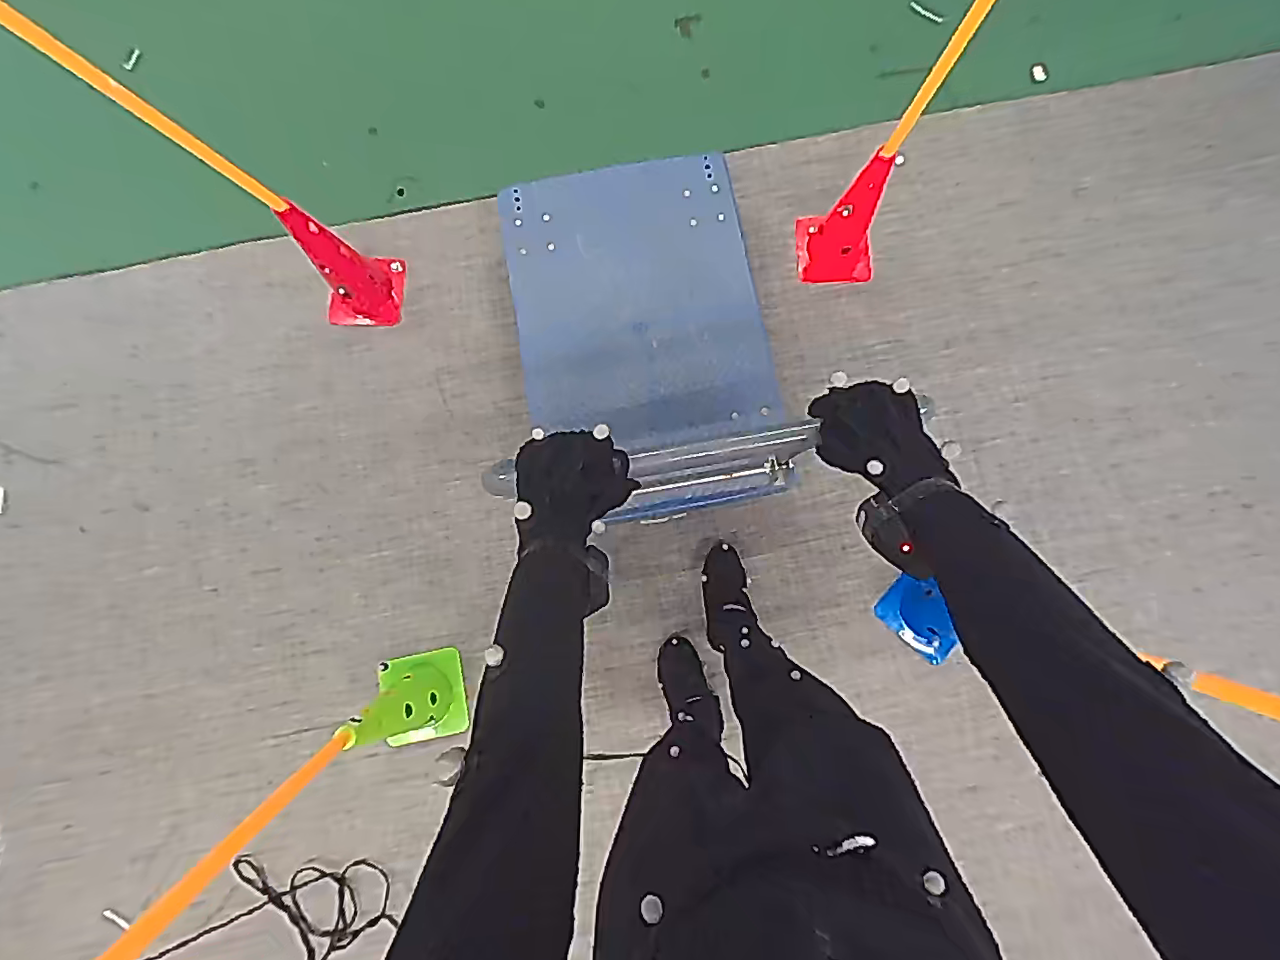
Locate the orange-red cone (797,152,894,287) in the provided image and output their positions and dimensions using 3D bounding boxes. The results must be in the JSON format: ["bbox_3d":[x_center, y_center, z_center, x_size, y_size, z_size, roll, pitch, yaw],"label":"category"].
[{"bbox_3d":[0.532,-0.653,1.328,0.198,0.360,0.199,0,80,2],"label":"orange-red cone"}]
